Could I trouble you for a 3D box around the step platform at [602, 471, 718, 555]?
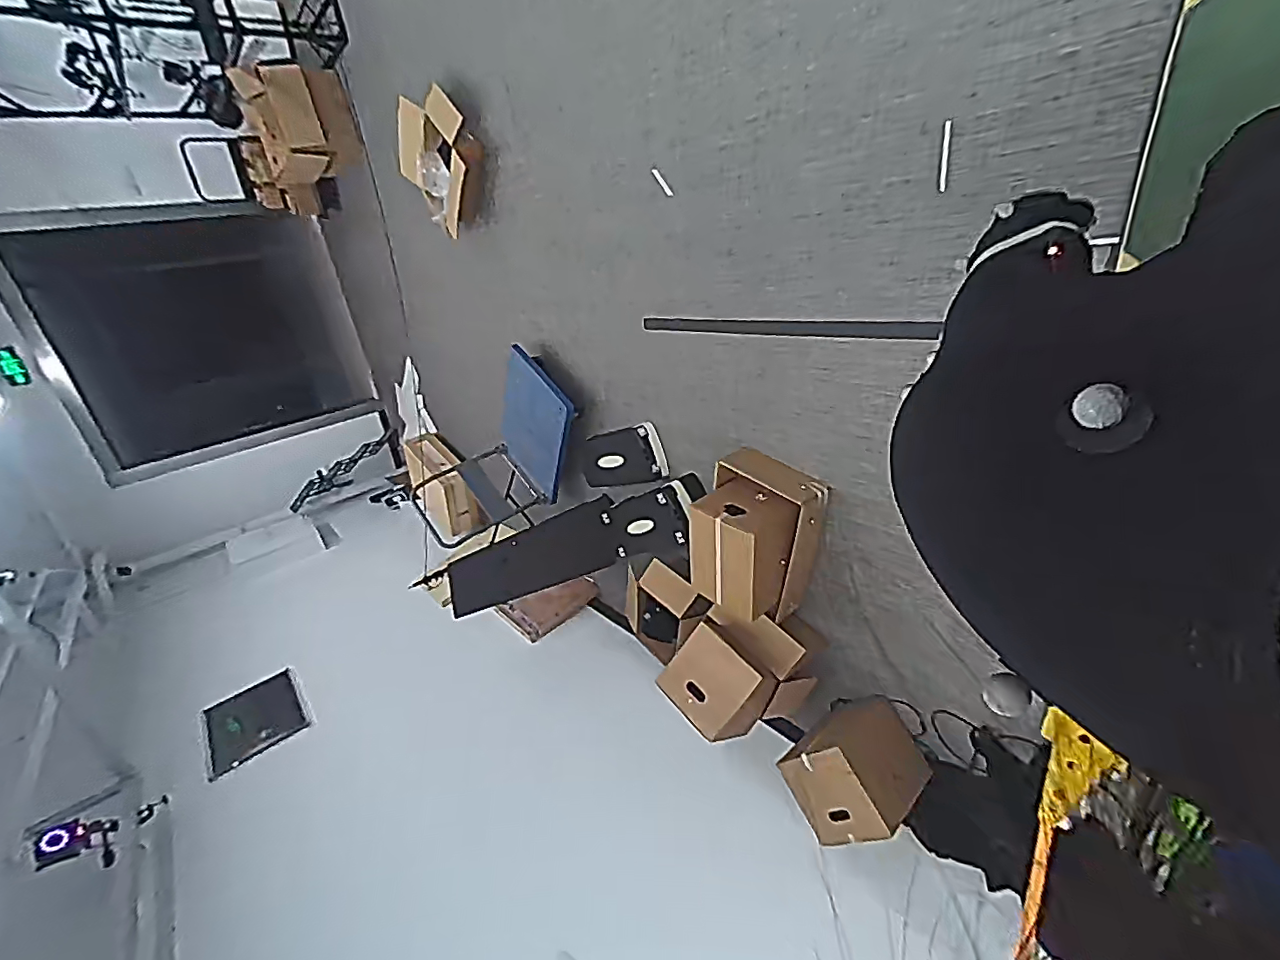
[{"bbox_3d":[0.073,0.184,2.692,0.684,0.204,0.286,-25,91,56],"label":"step platform"}]
